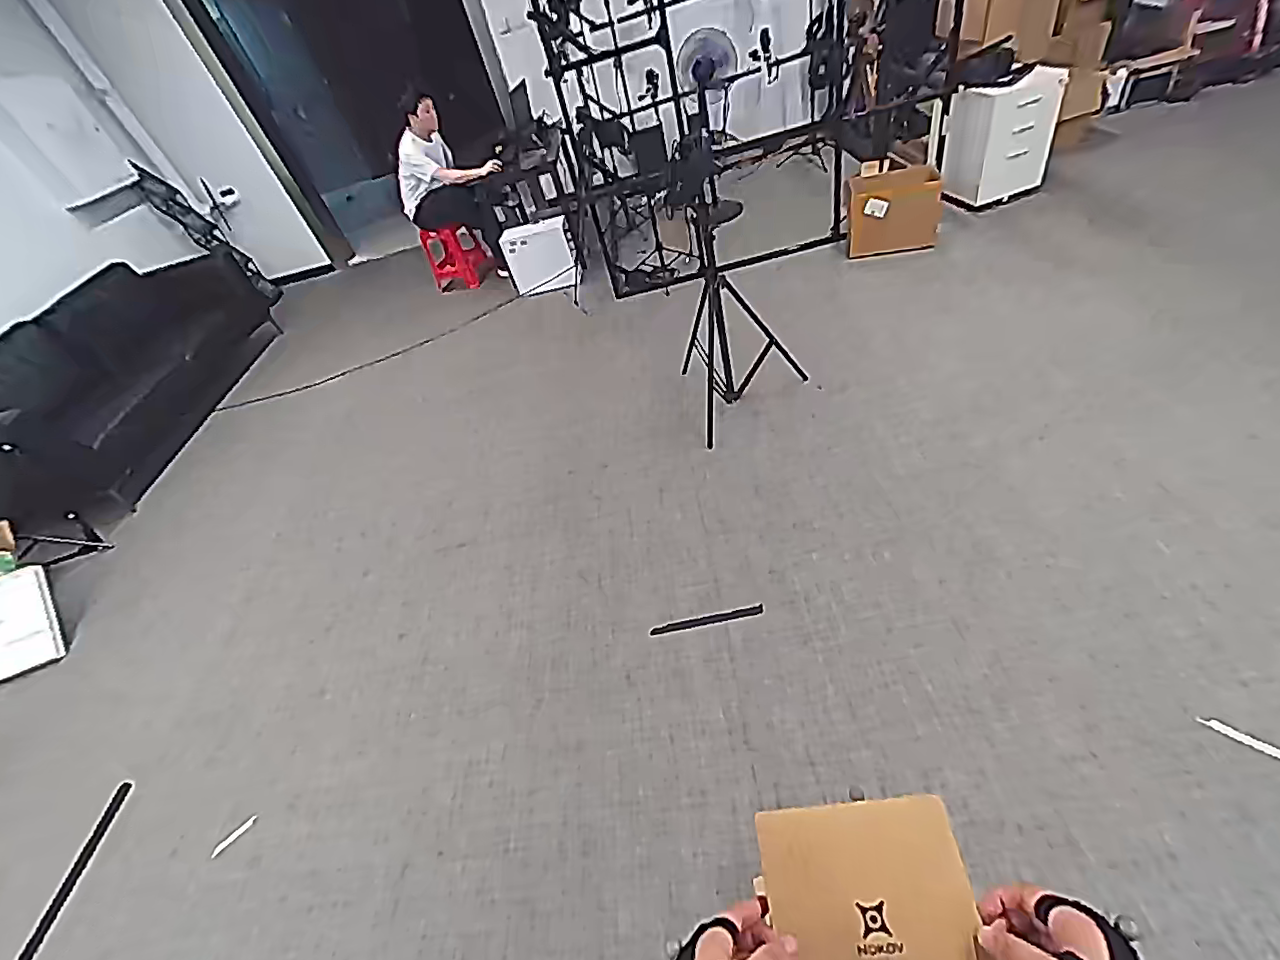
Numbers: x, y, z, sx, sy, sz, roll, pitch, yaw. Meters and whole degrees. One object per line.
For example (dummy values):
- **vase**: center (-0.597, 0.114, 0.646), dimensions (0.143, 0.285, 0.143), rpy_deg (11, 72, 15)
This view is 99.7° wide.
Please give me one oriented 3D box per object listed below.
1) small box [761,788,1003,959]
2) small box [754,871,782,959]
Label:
- **small box**: center (0.208, 0.398, 0.498), dimensions (0.168, 0.176, 0.179), rpy_deg (-11, 56, 7)
- **small box**: center (0.343, 0.888, 1.087), dimensions (0.168, 0.176, 0.179), rpy_deg (-21, 43, -2)
